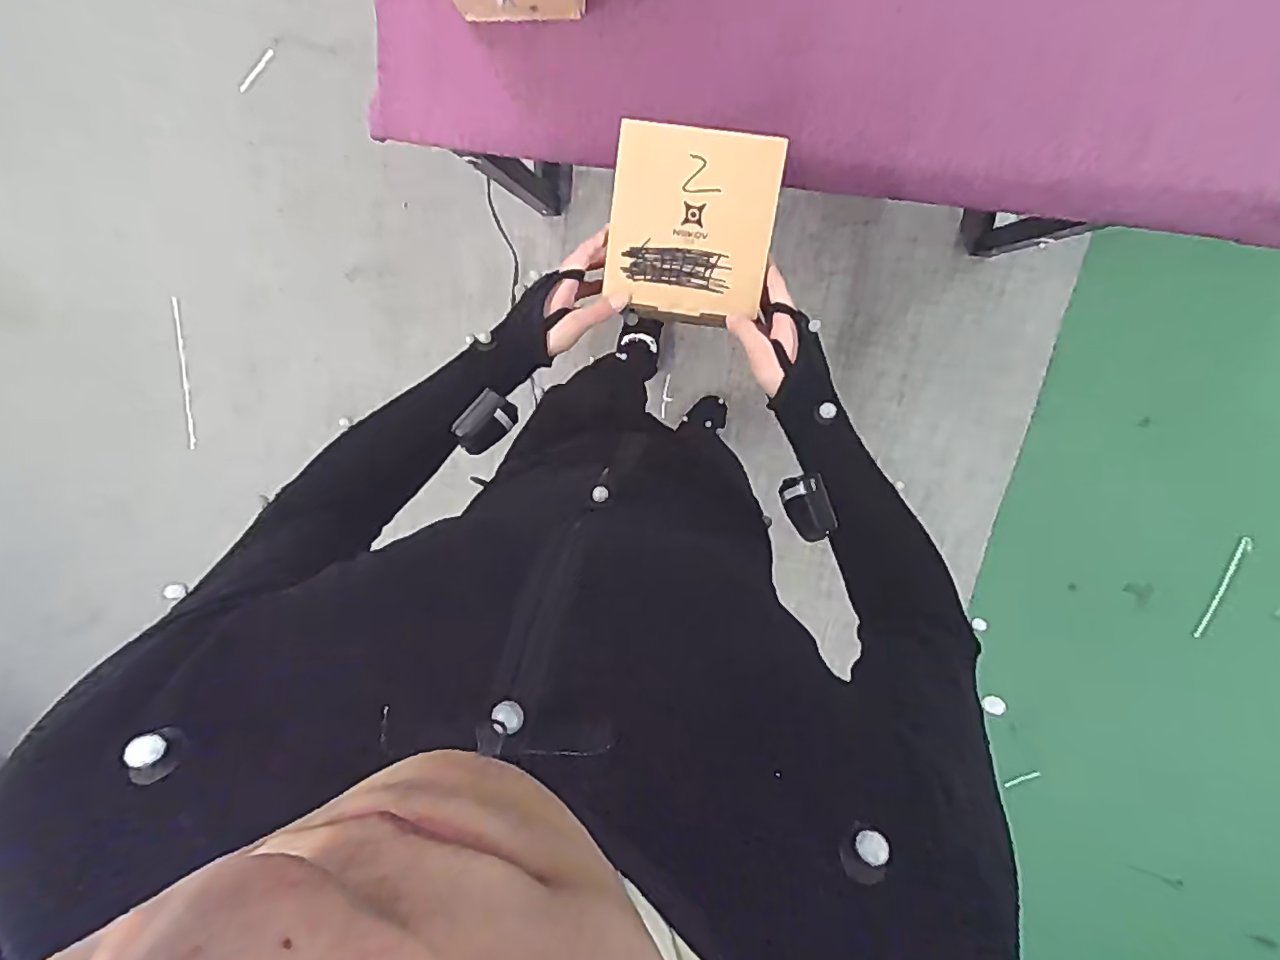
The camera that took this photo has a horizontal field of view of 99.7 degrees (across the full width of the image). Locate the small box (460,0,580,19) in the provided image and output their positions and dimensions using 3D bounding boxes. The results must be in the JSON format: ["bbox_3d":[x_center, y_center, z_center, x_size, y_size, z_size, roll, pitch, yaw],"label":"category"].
[{"bbox_3d":[-0.165,-0.681,0.622,0.168,0.176,0.179,3,106,5],"label":"small box"}]
